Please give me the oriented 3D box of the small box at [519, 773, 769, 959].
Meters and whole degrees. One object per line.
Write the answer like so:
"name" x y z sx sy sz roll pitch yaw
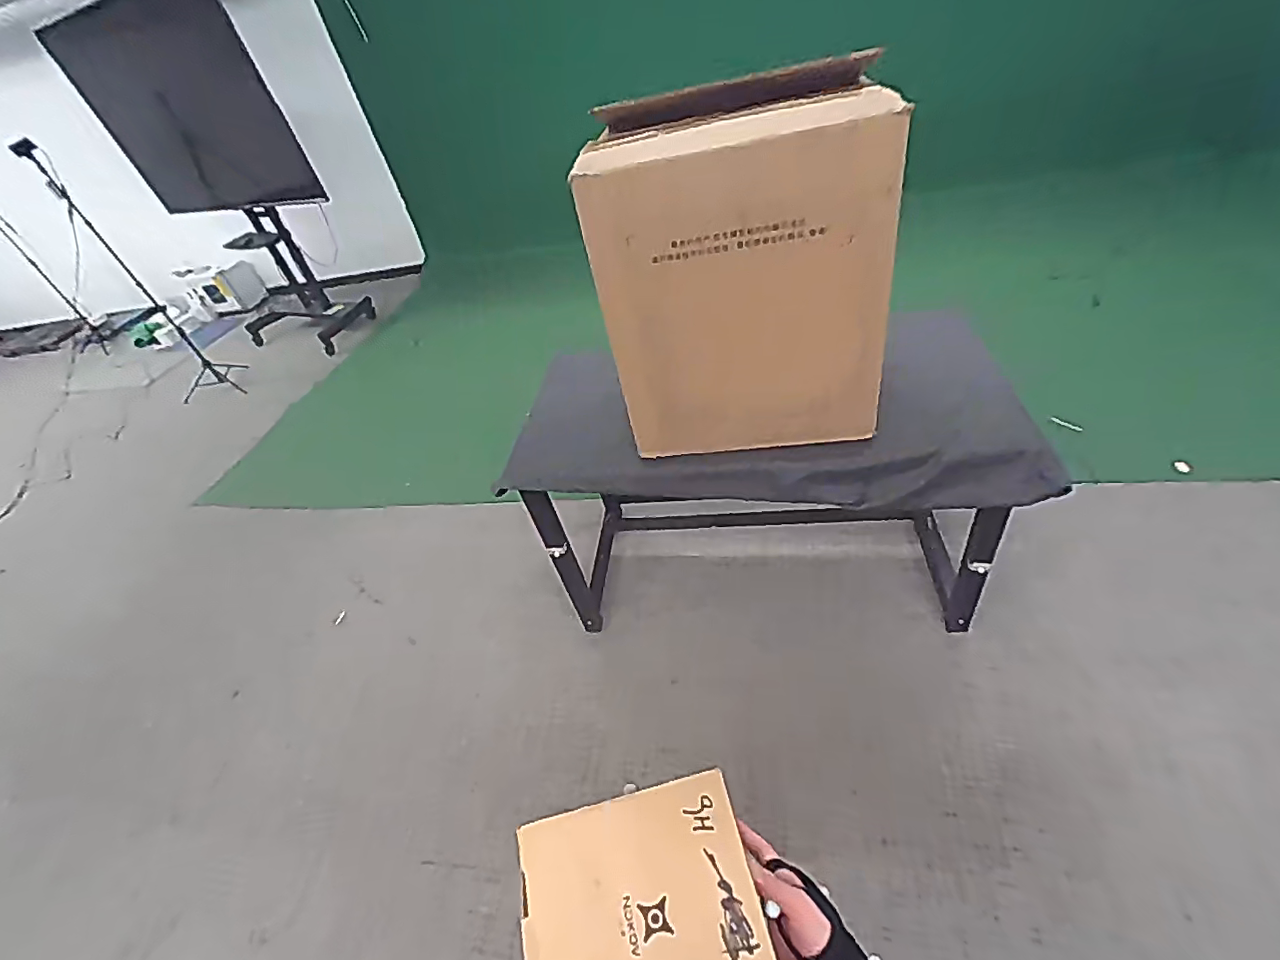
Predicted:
"small box" 0.008 0.373 0.473 0.179 0.176 0.168 -14 58 -3
